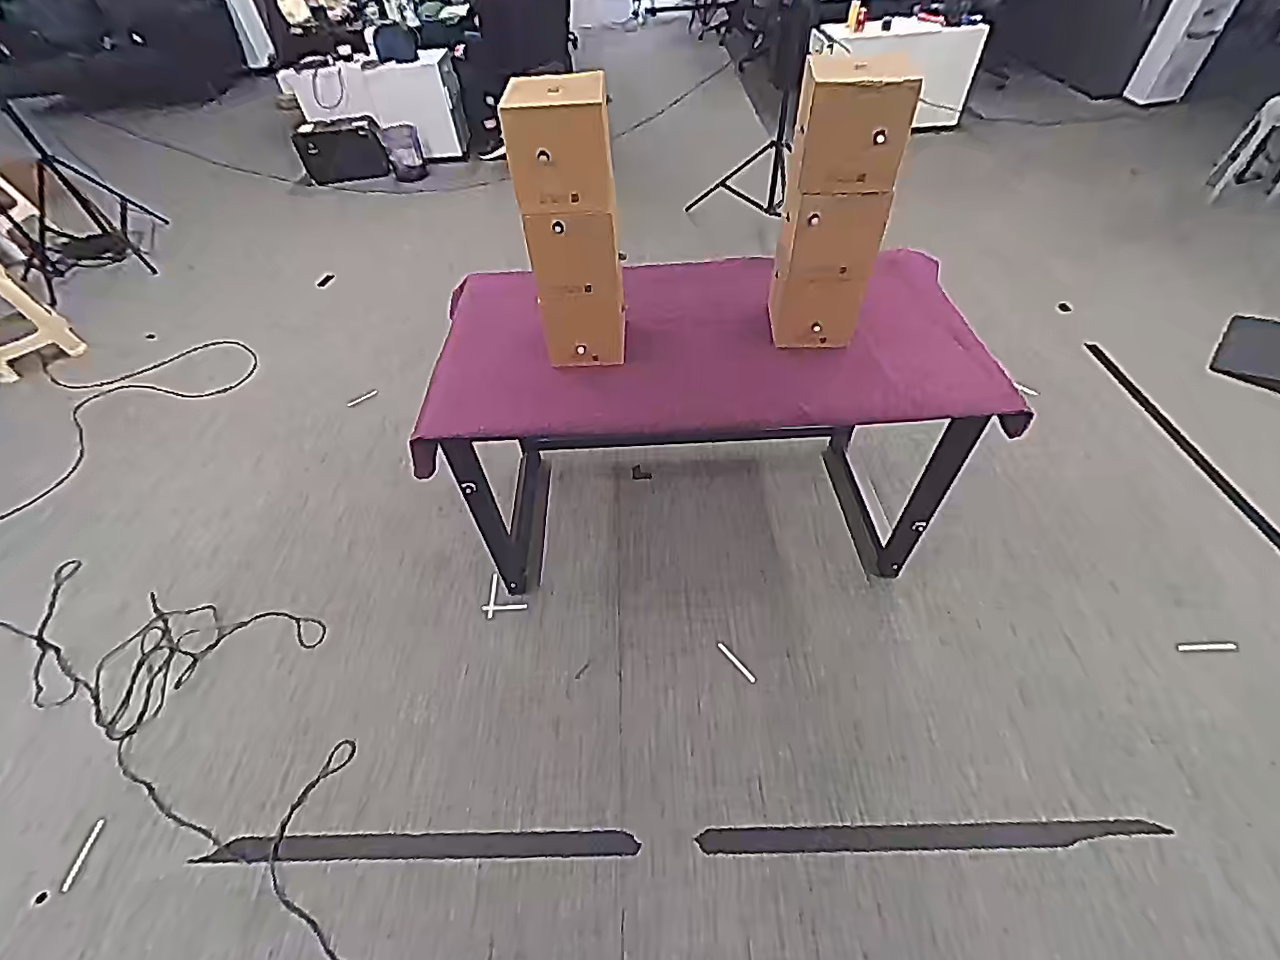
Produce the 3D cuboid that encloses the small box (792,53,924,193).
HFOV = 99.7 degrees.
[{"bbox_3d":[0.367,-0.620,0.945,0.168,0.176,0.179,3,49,5],"label":"small box"}]

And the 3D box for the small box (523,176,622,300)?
[{"bbox_3d":[-0.124,-0.478,1.070,0.168,0.176,0.179,-3,49,2],"label":"small box"}]

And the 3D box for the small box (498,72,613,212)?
[{"bbox_3d":[-0.136,-0.585,0.948,0.168,0.176,0.179,-3,49,1],"label":"small box"}]

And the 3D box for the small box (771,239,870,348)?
[{"bbox_3d":[0.388,-0.413,1.197,0.168,0.176,0.179,1,50,6],"label":"small box"}]

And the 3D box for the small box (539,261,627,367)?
[{"bbox_3d":[-0.118,-0.370,1.193,0.168,0.176,0.179,-2,50,2],"label":"small box"}]
